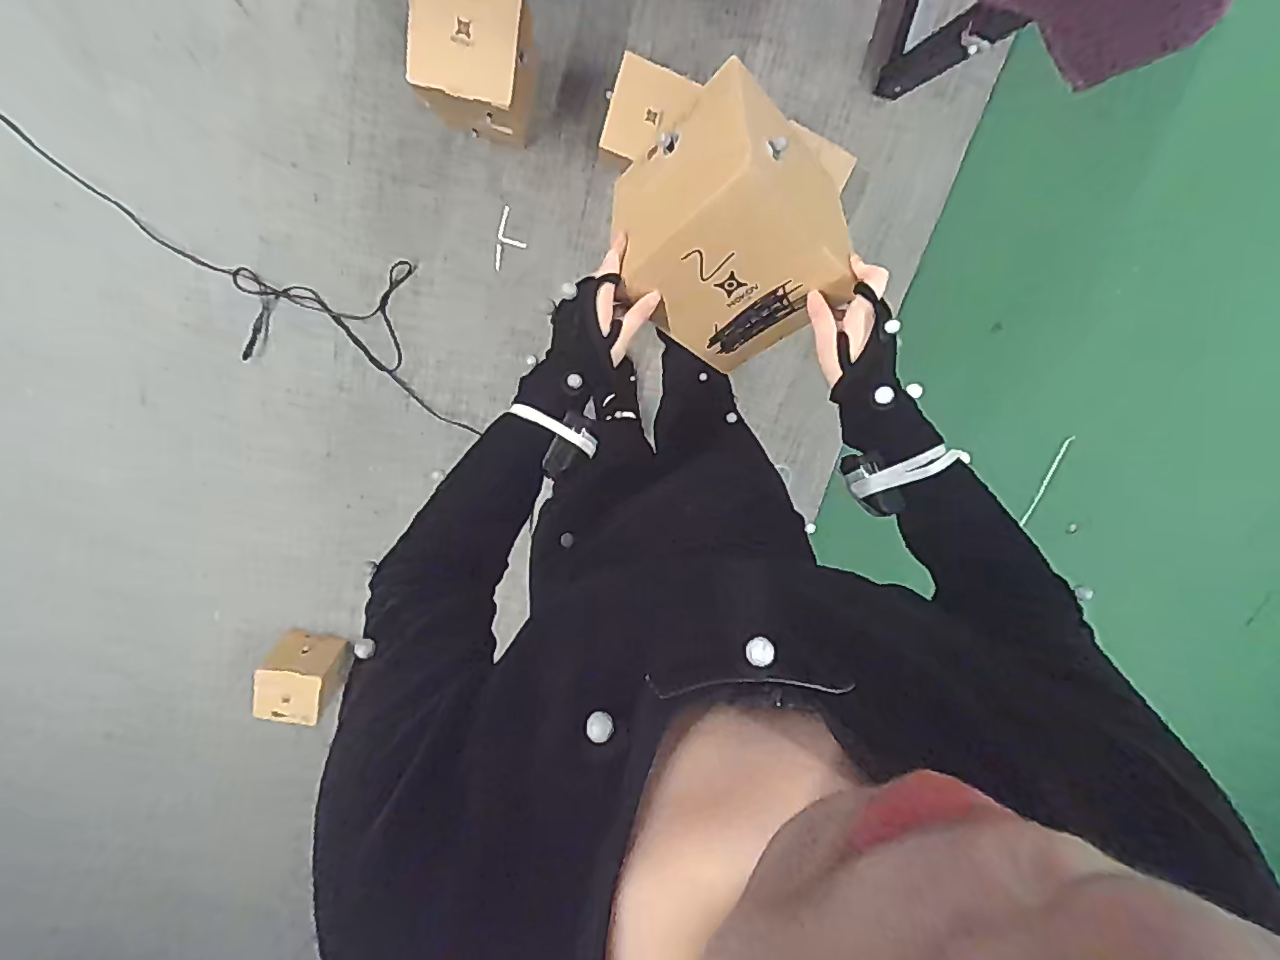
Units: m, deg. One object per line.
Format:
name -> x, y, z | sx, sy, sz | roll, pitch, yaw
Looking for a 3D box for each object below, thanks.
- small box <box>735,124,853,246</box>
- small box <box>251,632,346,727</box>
small box -> 0.324, -0.631, 1.186 | 0.168, 0.176, 0.179 | 21, 107, -13
small box -> -0.957, 0.558, 1.528 | 0.168, 0.176, 0.179 | 15, 108, -10
